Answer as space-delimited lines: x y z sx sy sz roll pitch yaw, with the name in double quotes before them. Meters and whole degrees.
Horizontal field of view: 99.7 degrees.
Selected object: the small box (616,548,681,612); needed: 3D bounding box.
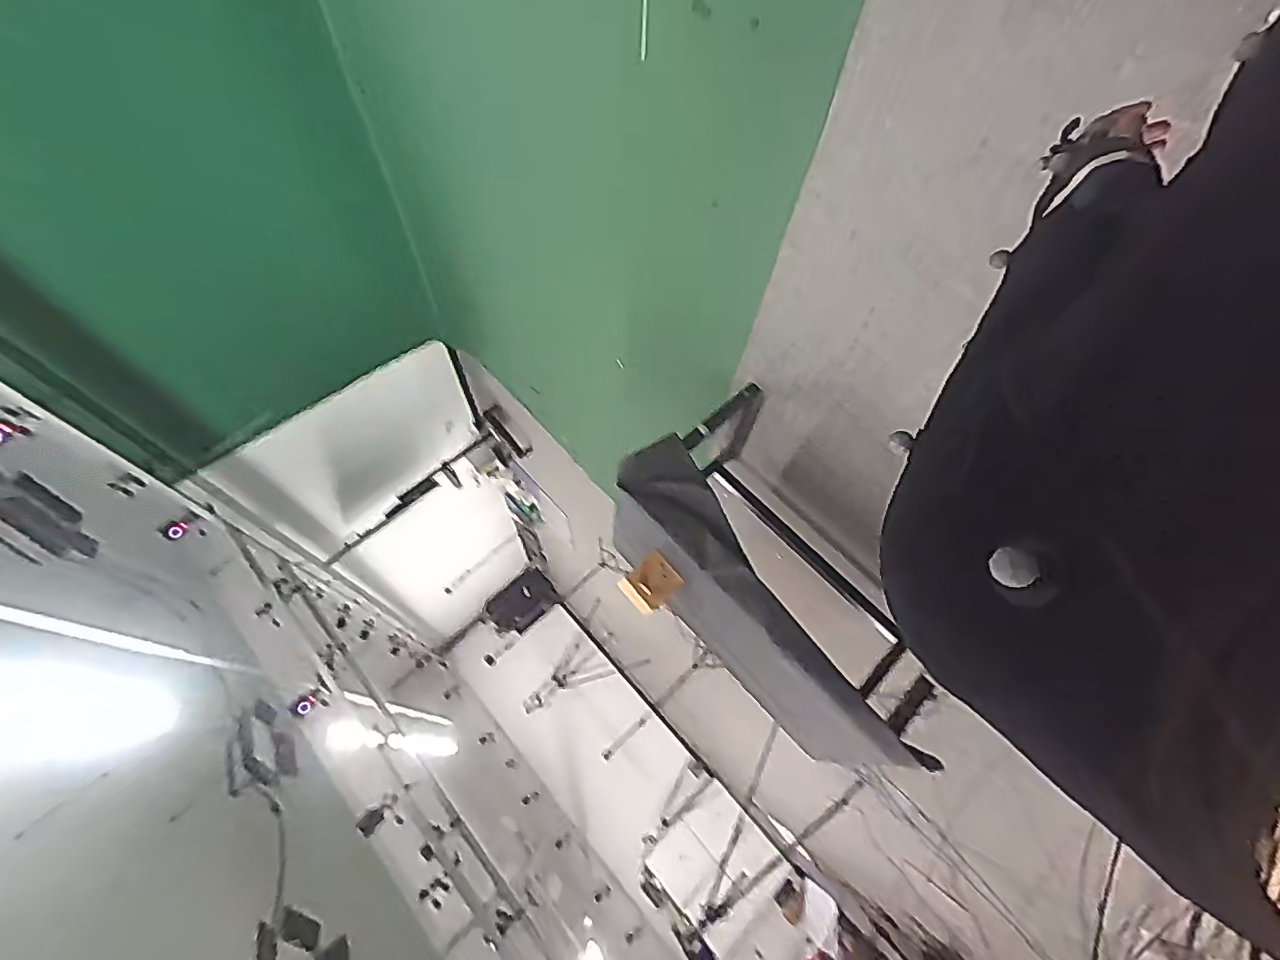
"small box" 0.035 0.384 2.070 0.168 0.176 0.179 49 159 7
